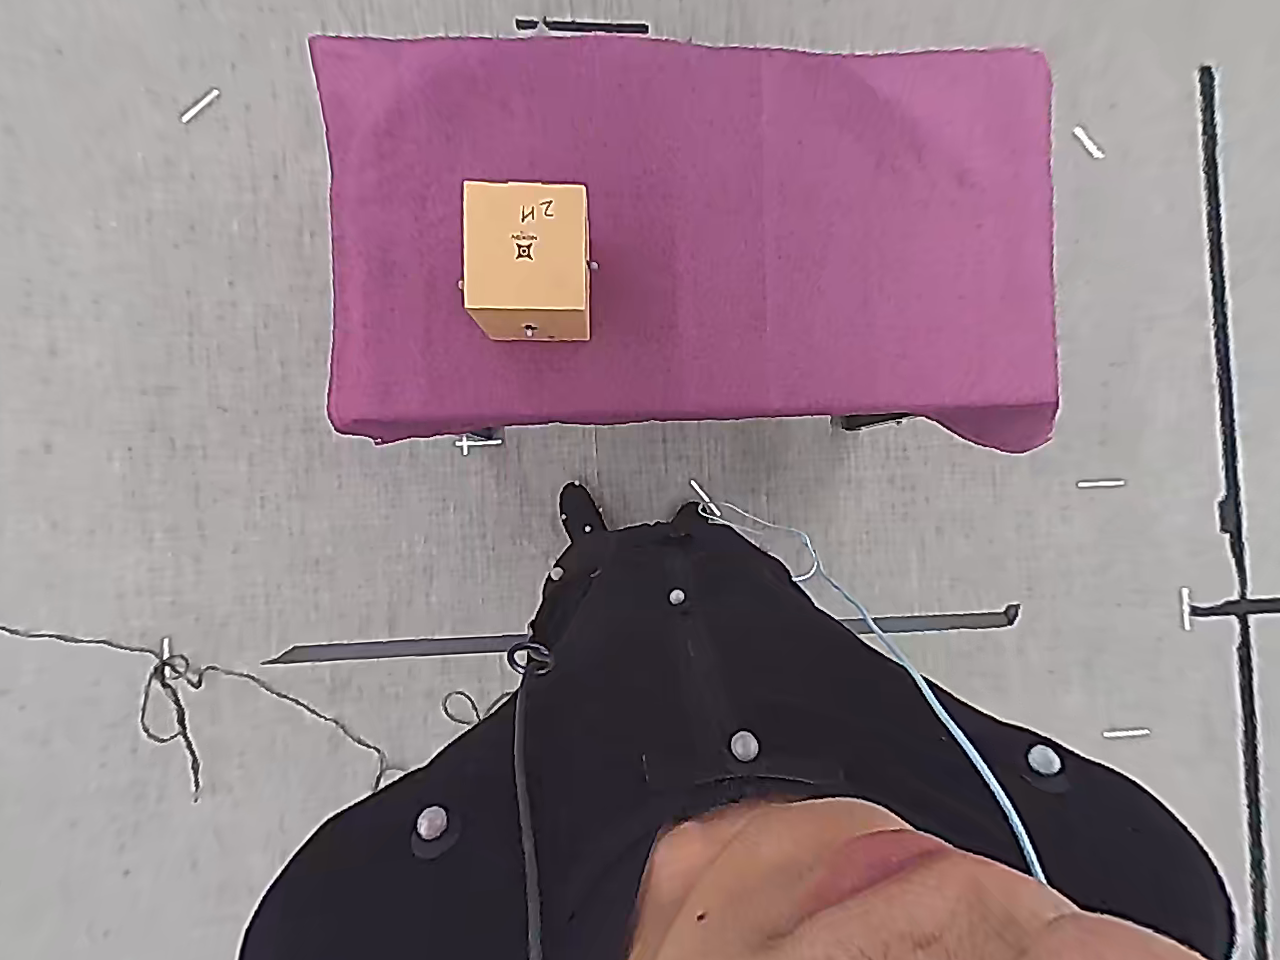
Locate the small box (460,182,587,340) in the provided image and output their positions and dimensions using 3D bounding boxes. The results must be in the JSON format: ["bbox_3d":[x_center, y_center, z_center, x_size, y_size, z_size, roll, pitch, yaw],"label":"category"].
[{"bbox_3d":[-0.165,-0.315,0.811,0.168,0.176,0.179,0,90,-4],"label":"small box"}]
